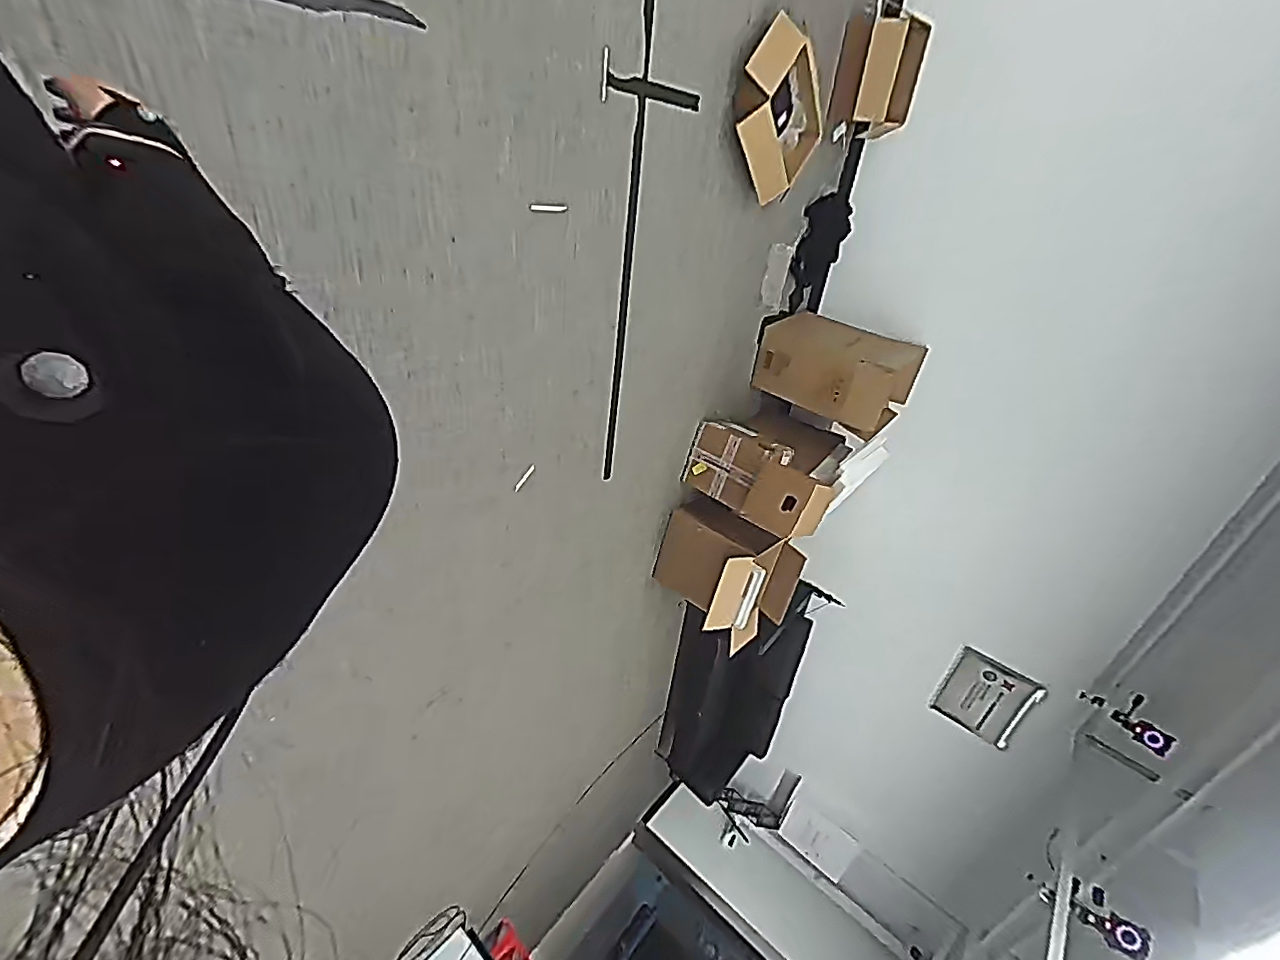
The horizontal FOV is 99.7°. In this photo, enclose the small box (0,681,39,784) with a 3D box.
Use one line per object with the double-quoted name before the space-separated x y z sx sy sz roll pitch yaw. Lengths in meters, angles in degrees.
"small box" -1.397 0.533 1.107 0.168 0.176 0.179 -26 134 -48
